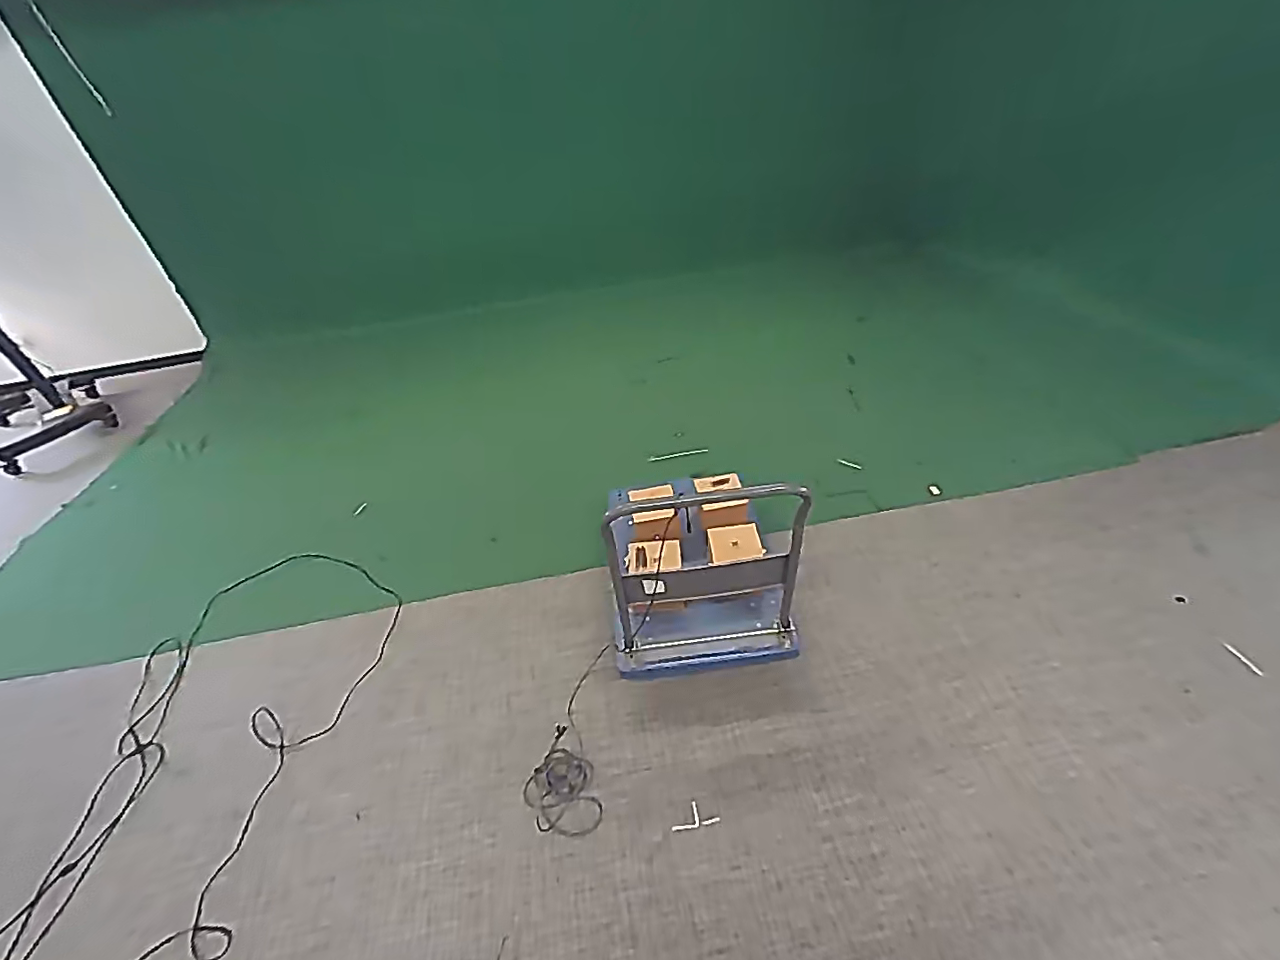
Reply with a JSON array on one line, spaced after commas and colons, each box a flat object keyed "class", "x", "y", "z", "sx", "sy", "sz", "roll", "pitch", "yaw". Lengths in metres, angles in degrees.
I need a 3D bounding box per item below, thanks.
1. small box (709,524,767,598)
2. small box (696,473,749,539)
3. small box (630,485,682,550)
[{"class": "small box", "x": 0.328, "y": 0.274, "z": 1.833, "sx": 0.168, "sy": 0.176, "sz": 0.179, "roll": -7, "pitch": 40, "yaw": 2}, {"class": "small box", "x": 0.309, "y": 0.101, "z": 2.040, "sx": 0.168, "sy": 0.176, "sz": 0.179, "roll": -10, "pitch": 41, "yaw": -1}, {"class": "small box", "x": 0.061, "y": 0.146, "z": 2.031, "sx": 0.168, "sy": 0.176, "sz": 0.179, "roll": -9, "pitch": 40, "yaw": -2}]
